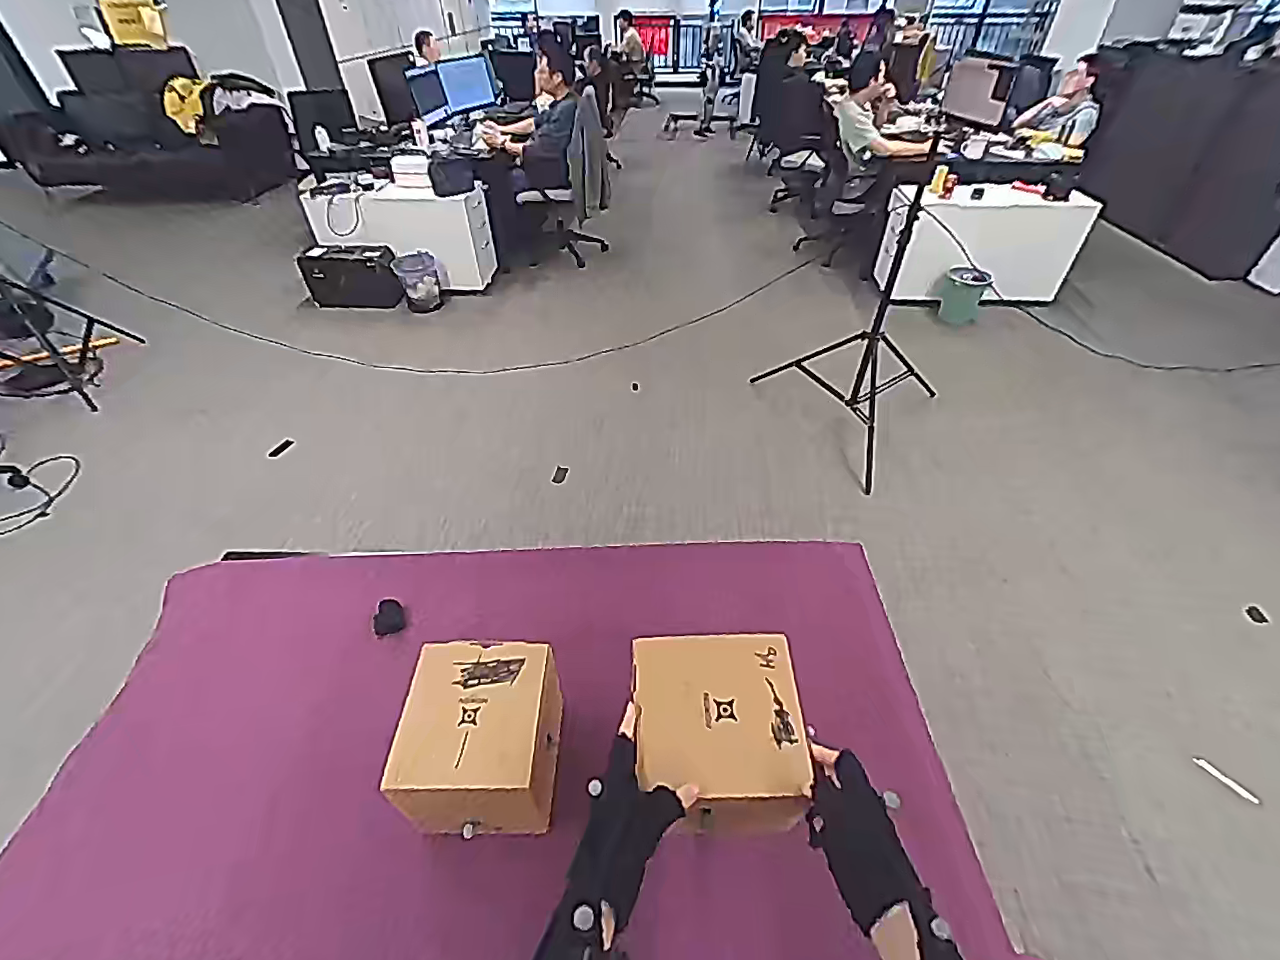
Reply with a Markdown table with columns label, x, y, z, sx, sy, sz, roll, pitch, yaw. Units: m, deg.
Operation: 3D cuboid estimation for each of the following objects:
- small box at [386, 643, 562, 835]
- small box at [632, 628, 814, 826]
| label | x | y | z | sx | sy | sz | roll | pitch | yaw |
| --- | --- | --- | --- | --- | --- | --- | --- | --- | --- |
| small box | -0.196 | 0.334 | 0.701 | 0.168 | 0.176 | 0.179 | 0 | 43 | 1 |
| small box | 0.085 | 0.288 | 0.626 | 0.179 | 0.176 | 0.168 | -3 | 47 | 2 |
